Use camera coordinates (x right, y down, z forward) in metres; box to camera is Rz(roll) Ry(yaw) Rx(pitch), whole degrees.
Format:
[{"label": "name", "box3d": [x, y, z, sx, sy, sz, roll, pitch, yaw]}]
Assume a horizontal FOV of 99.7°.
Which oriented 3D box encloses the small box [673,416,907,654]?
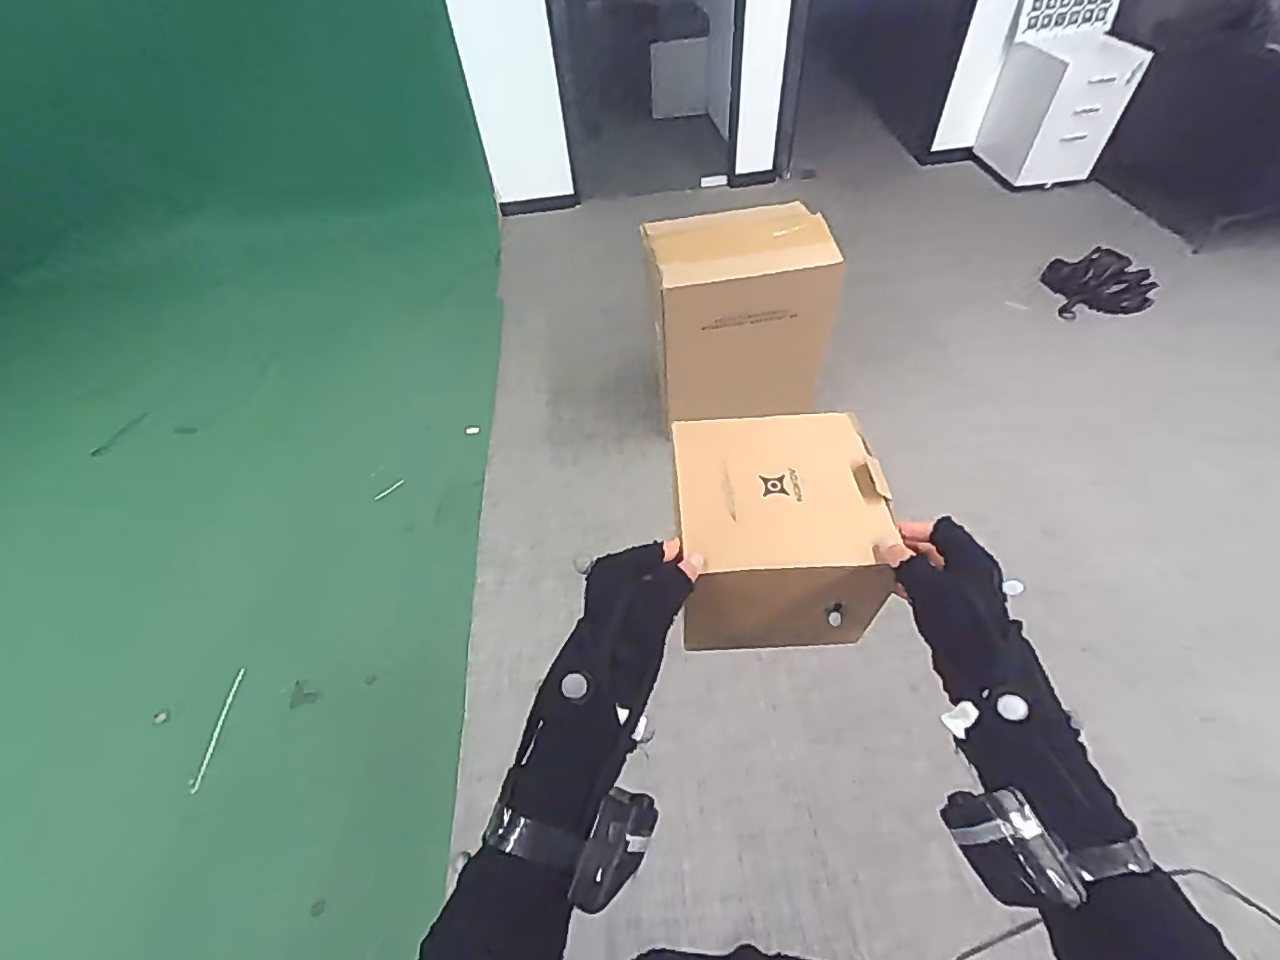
[{"label": "small box", "box3d": [0.126, 0.059, 0.534, 0.179, 0.176, 0.168, -5, 51, 3]}]
